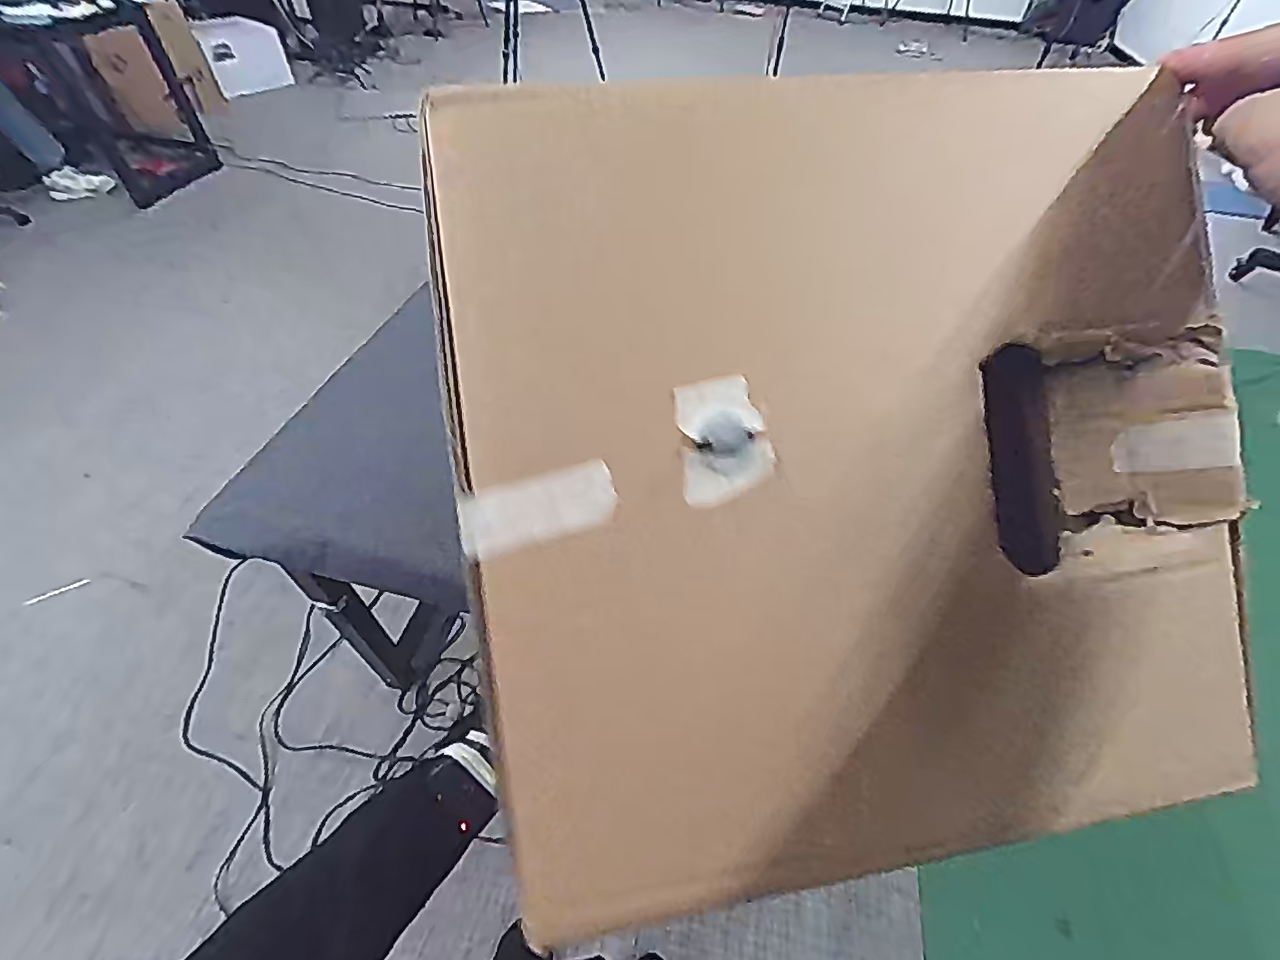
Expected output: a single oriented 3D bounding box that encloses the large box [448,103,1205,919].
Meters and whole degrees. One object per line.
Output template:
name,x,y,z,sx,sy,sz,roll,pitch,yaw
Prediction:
large box,0.064,-0.003,0.415,0.320,0.408,0.320,-8,92,-9
